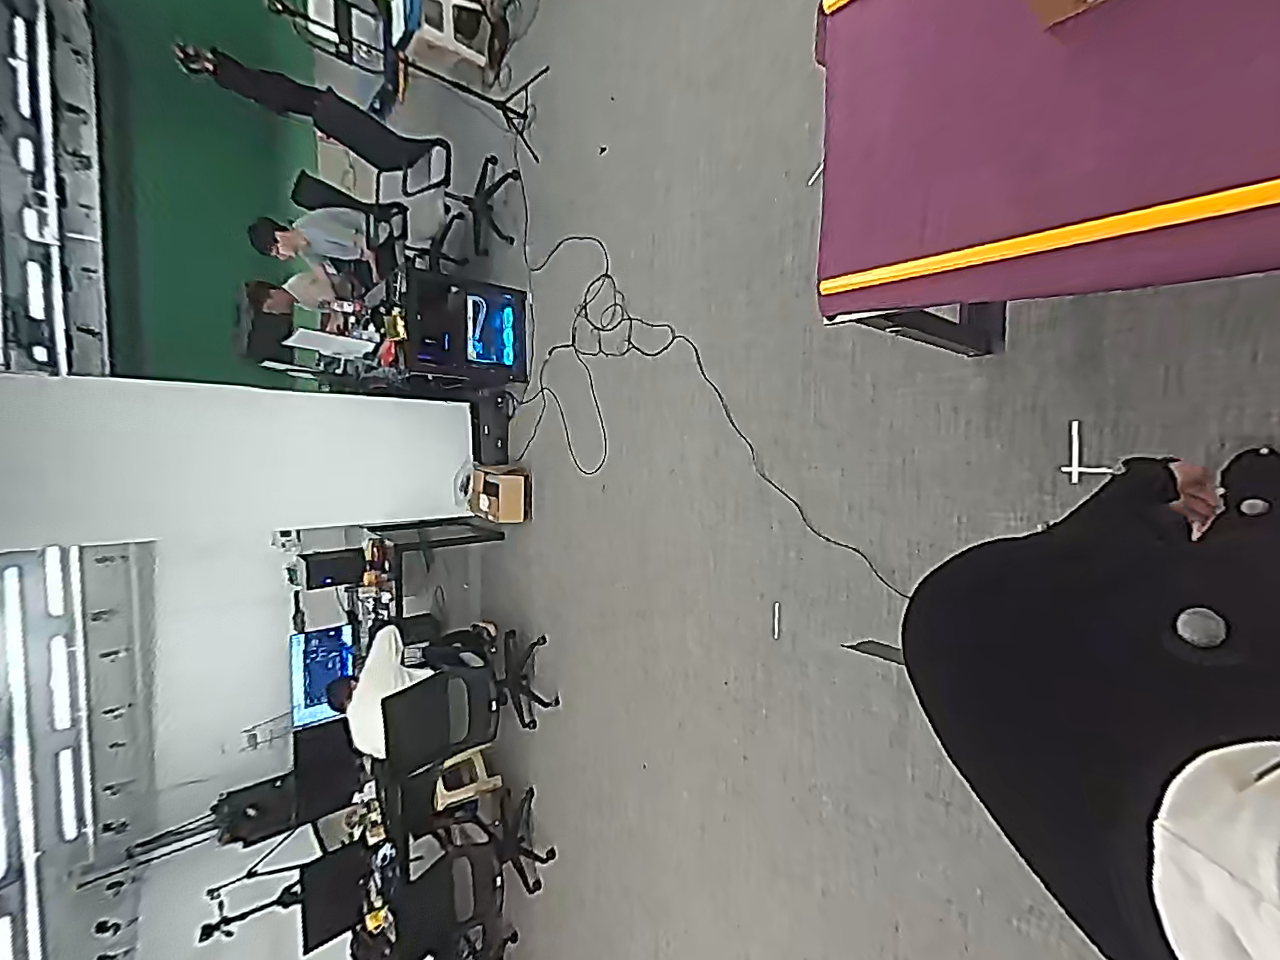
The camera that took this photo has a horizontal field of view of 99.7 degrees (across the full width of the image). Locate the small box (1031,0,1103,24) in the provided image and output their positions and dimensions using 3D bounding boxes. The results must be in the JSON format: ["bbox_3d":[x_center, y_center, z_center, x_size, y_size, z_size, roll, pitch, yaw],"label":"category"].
[{"bbox_3d":[0.557,-0.715,0.646,0.168,0.176,0.179,2,94,50],"label":"small box"}]
